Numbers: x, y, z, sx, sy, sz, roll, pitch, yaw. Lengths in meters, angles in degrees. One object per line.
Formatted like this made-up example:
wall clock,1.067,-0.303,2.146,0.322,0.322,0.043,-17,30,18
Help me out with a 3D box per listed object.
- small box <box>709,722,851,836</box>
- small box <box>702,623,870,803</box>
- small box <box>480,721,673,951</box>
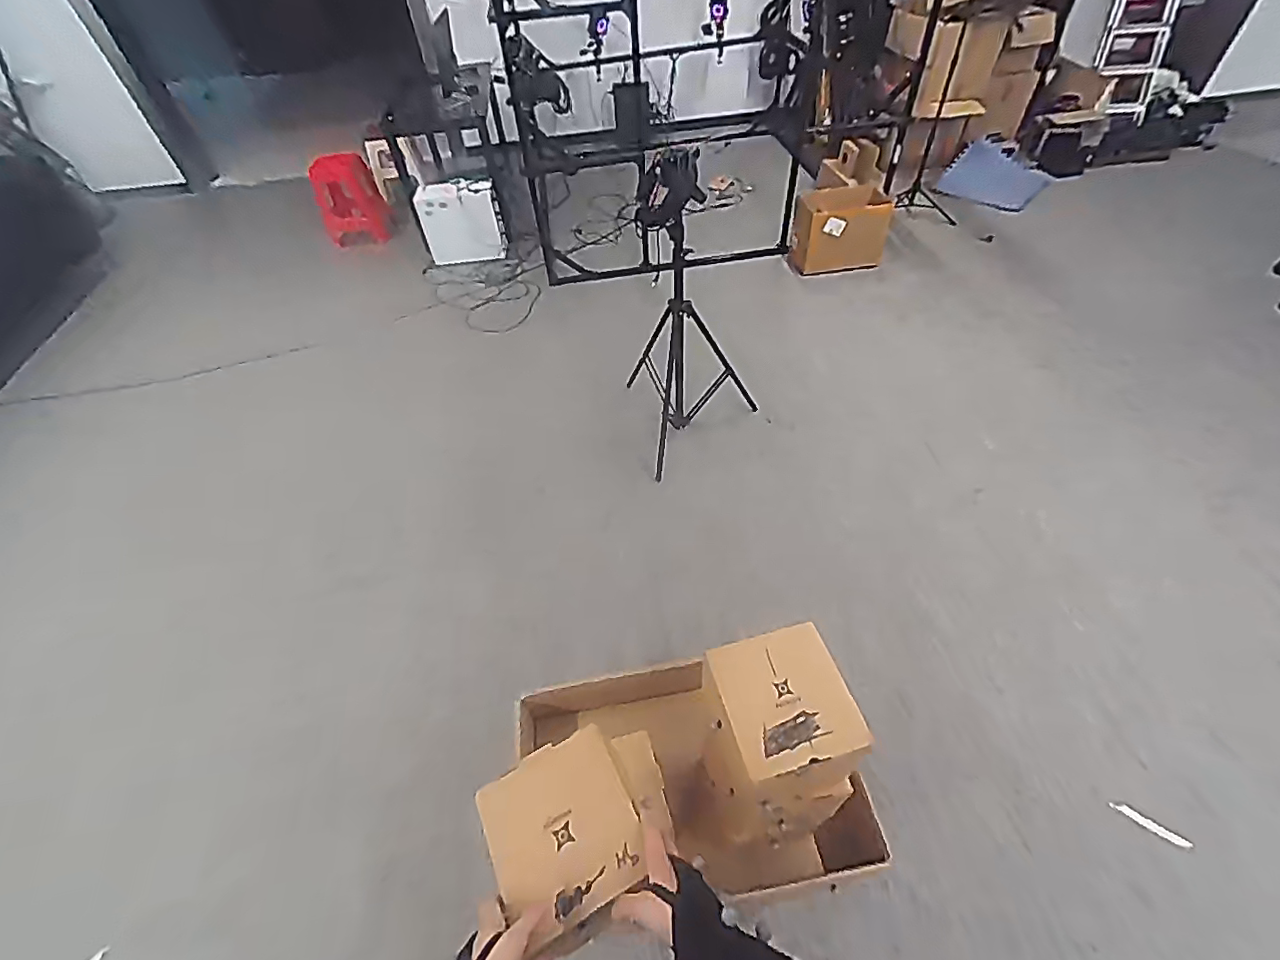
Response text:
small box,0.213,0.452,0.884,0.168,0.176,0.179,-11,49,-5
small box,0.193,0.337,0.769,0.168,0.176,0.179,-13,49,-7
small box,-0.074,0.444,0.673,0.168,0.176,0.179,-27,49,-11
